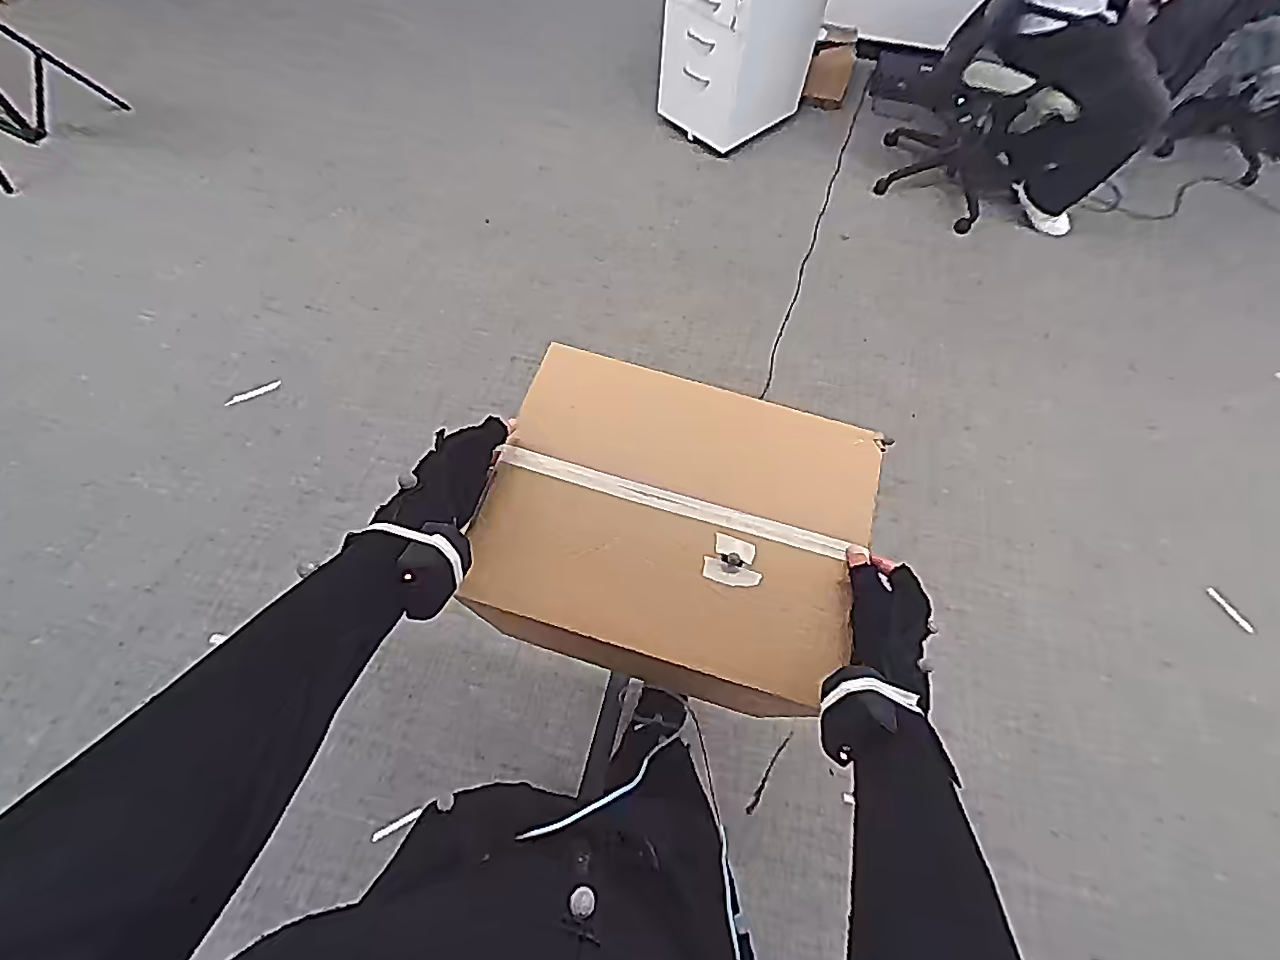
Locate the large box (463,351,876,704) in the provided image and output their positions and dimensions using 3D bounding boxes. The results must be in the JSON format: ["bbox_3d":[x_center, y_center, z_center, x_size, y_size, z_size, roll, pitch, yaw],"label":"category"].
[{"bbox_3d":[0.040,0.084,0.729,0.408,0.320,0.320,17,67,4],"label":"large box"}]
